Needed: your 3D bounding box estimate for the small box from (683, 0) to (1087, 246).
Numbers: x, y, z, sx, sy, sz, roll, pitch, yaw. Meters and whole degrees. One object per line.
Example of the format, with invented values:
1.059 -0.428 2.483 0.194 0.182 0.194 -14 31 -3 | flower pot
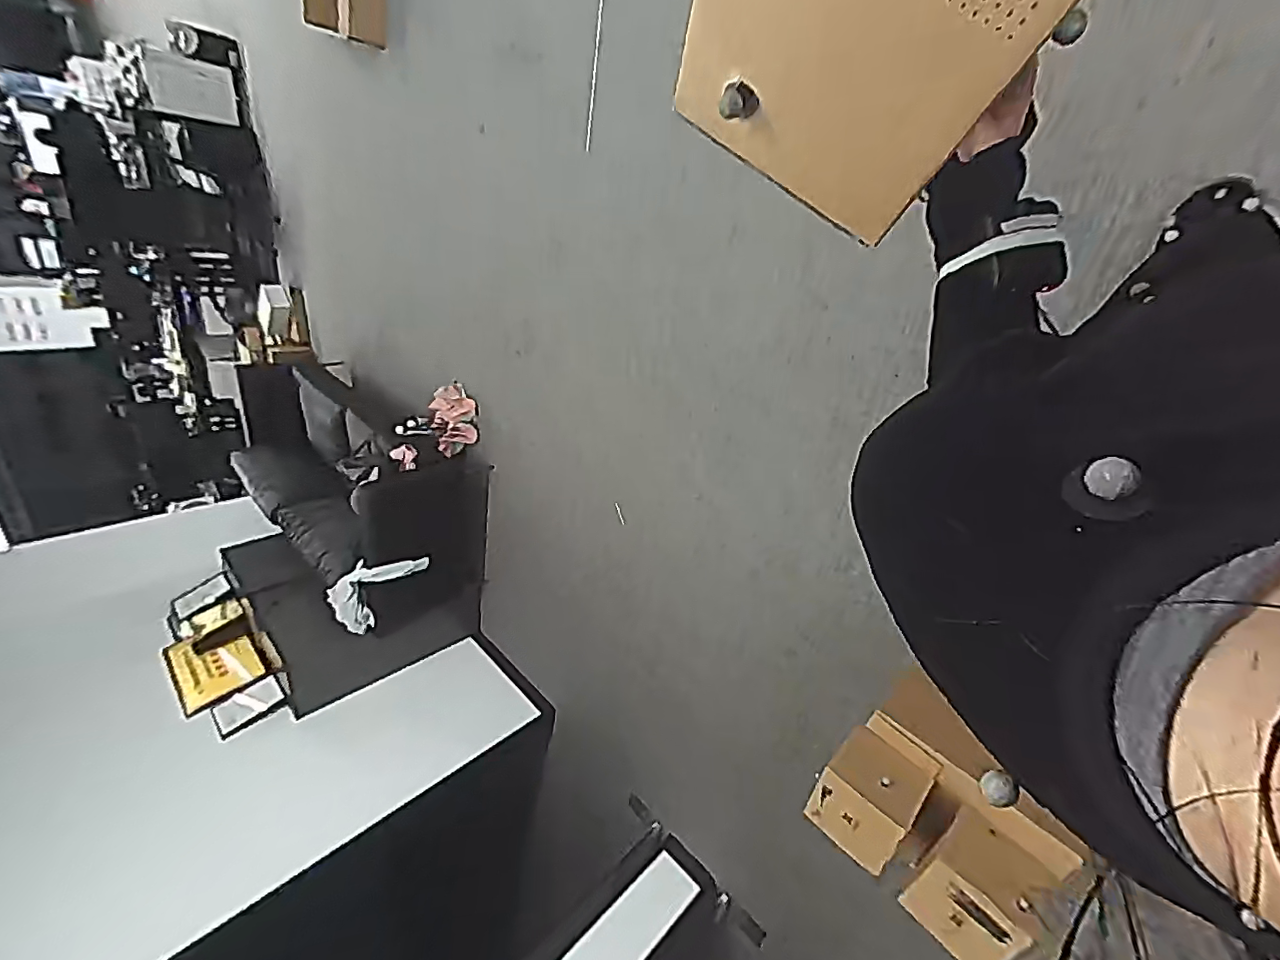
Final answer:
0.154 -0.296 0.329 0.179 0.168 0.176 36 165 3 | small box
